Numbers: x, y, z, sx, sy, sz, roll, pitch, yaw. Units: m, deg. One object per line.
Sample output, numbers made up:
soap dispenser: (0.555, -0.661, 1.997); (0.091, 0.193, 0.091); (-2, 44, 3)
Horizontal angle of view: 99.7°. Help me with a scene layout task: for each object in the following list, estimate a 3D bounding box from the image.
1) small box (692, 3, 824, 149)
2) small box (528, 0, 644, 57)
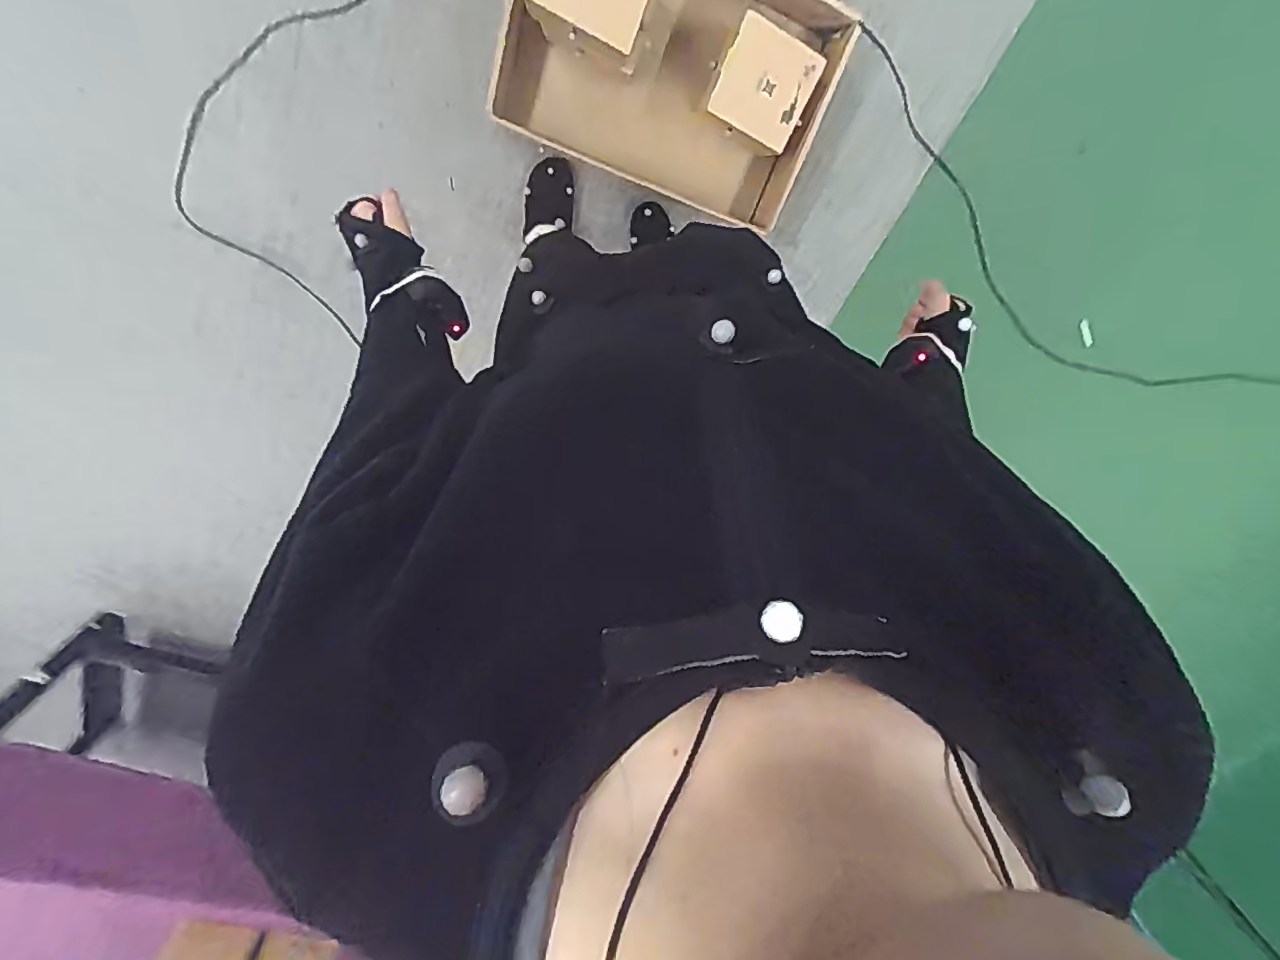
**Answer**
small box: (0.219, -0.776, 1.065); (0.179, 0.176, 0.168); (21, 116, -16)
small box: (-0.074, -0.795, 0.836); (0.179, 0.176, 0.168); (19, 118, -17)
